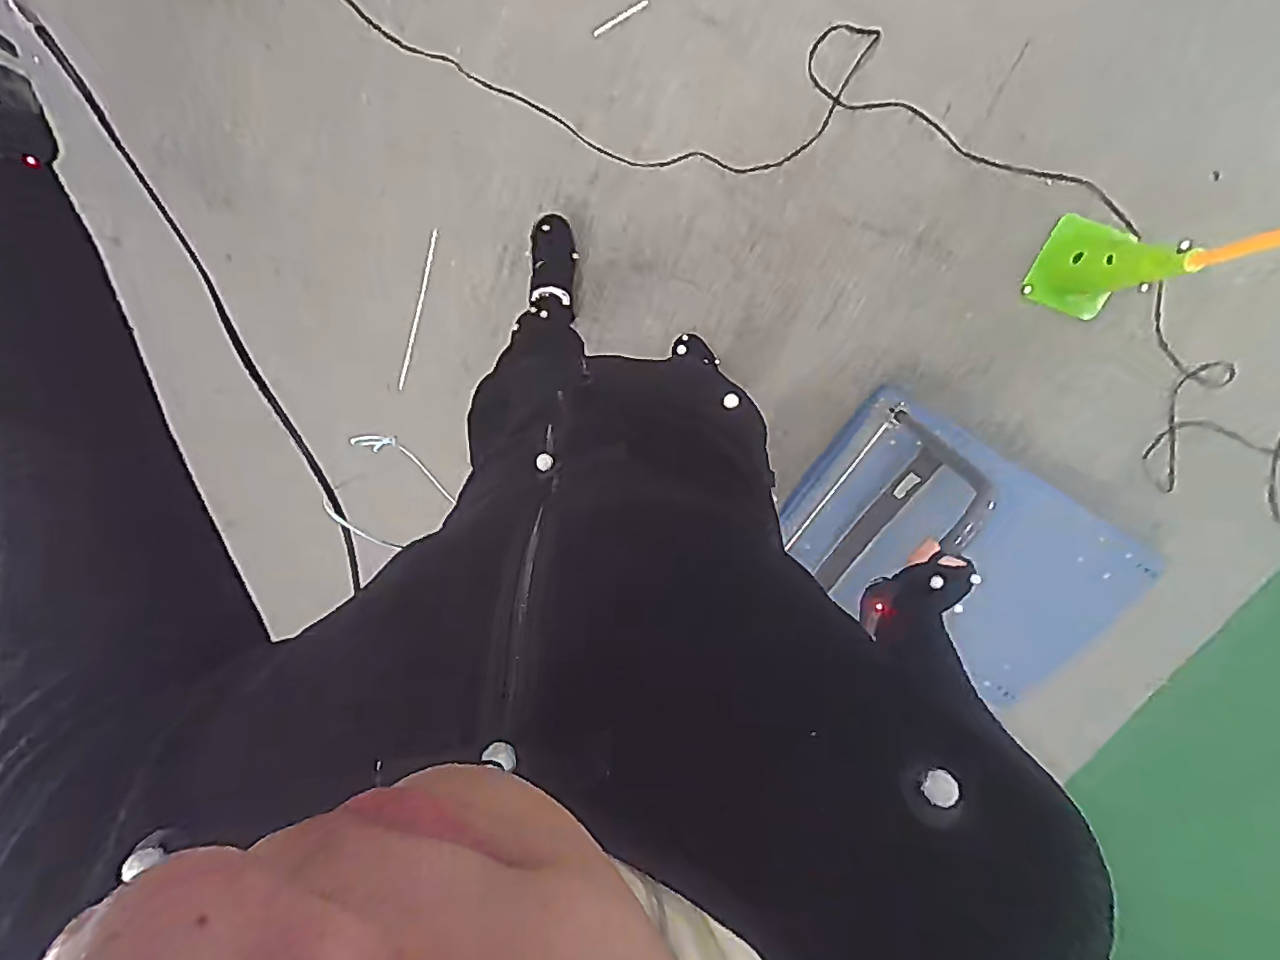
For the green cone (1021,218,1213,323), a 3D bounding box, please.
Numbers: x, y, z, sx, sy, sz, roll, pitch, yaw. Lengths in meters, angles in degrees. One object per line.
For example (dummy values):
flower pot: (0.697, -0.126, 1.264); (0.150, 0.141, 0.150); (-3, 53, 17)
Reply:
green cone: (1.038, -0.449, 1.144); (0.200, 0.368, 0.202); (20, 110, 1)
